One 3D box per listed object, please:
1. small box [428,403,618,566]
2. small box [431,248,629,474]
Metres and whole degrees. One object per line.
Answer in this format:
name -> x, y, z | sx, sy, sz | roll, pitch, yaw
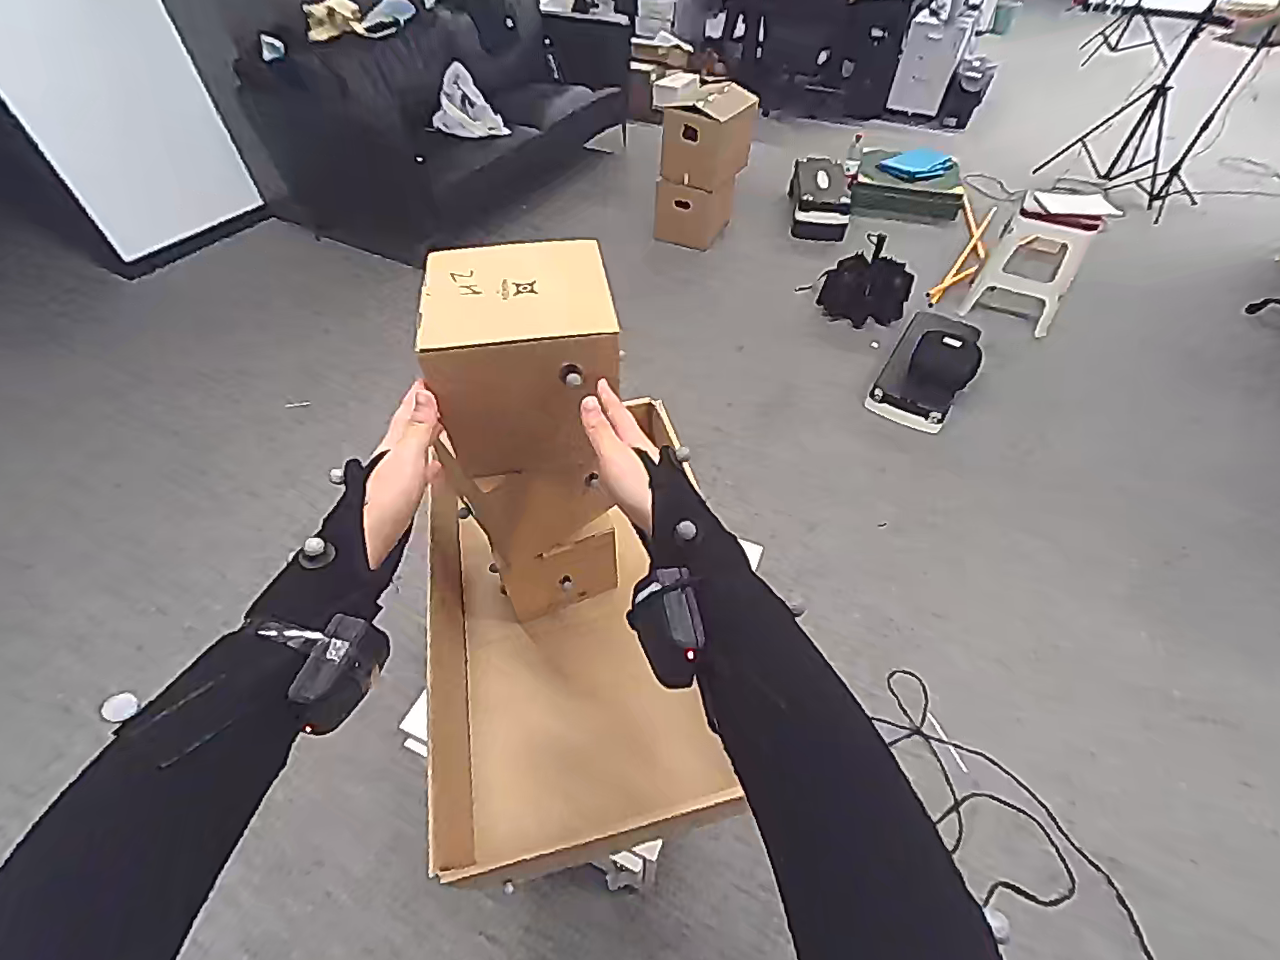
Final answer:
small box -> -0.143, -0.022, 0.714 | 0.179, 0.176, 0.168 | -33, 57, -23
small box -> -0.111, -0.126, 0.586 | 0.179, 0.176, 0.168 | -9, 50, -7
